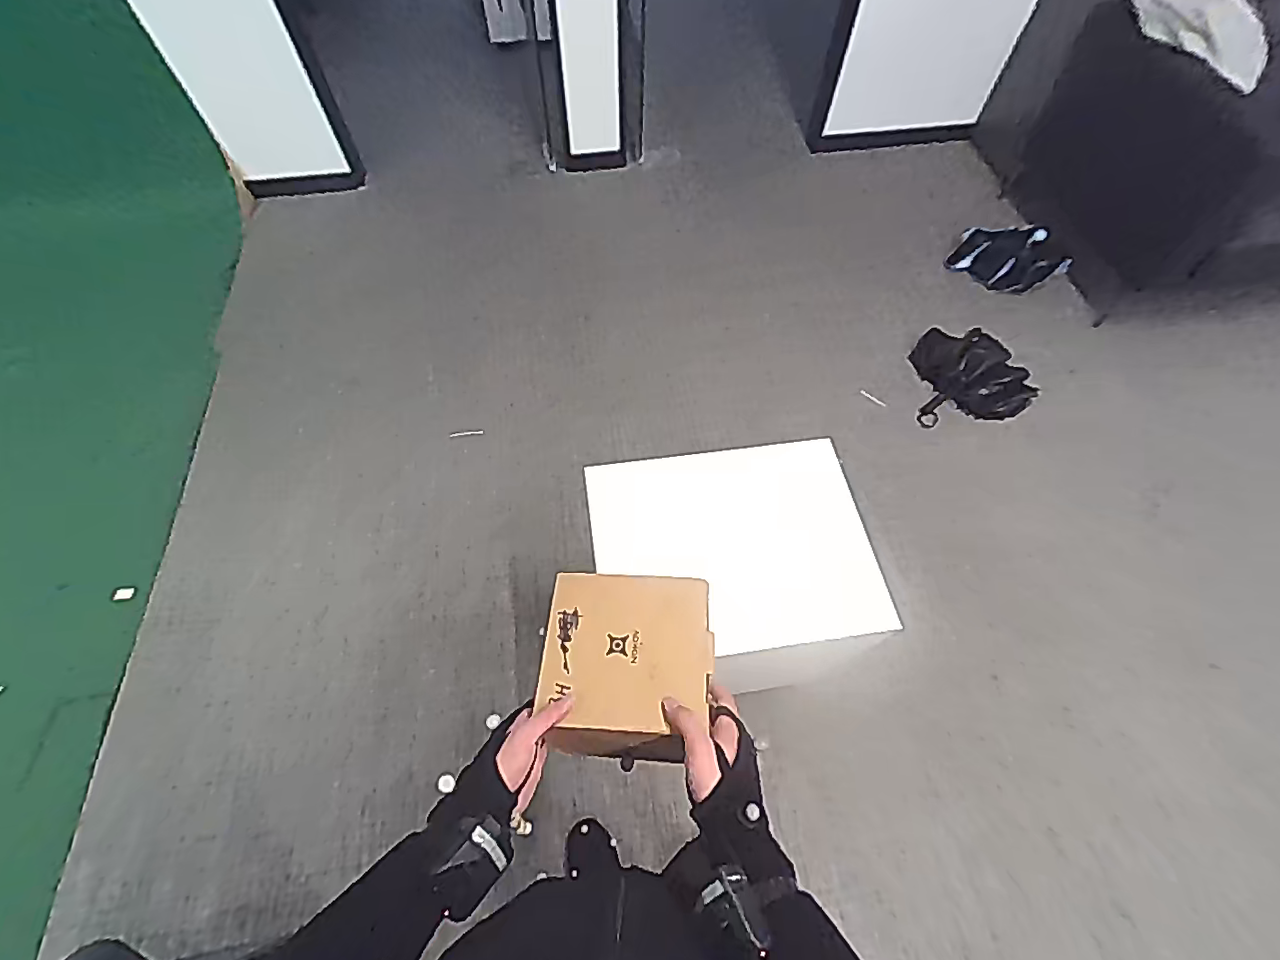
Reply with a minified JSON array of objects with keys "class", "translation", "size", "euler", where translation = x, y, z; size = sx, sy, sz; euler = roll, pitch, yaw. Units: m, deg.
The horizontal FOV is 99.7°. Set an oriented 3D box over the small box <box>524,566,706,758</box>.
[{"class":"small box","translation":[-0.018,0.215,0.628],"size":[0.179,0.176,0.168],"euler":[3,54,4]}]
